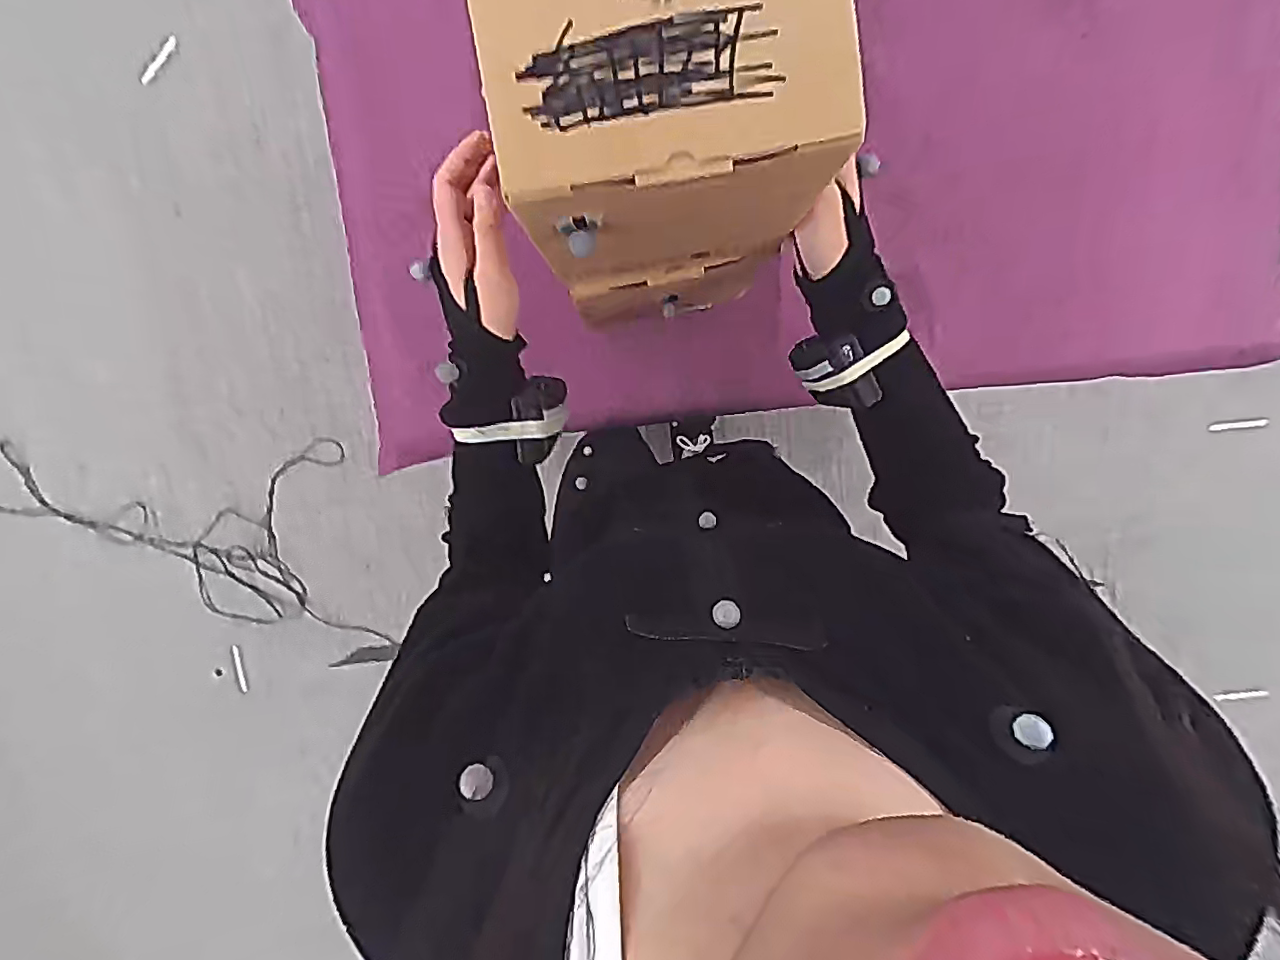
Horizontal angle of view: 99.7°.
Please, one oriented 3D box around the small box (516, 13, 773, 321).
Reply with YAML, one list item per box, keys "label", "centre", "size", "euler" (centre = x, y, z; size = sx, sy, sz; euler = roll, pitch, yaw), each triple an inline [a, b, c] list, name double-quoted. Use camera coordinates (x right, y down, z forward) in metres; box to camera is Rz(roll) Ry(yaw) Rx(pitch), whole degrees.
- label: "small box"
  centre: [0.007, -0.247, 0.481]
  size: [0.168, 0.176, 0.179]
  euler: [-13, 99, 2]
